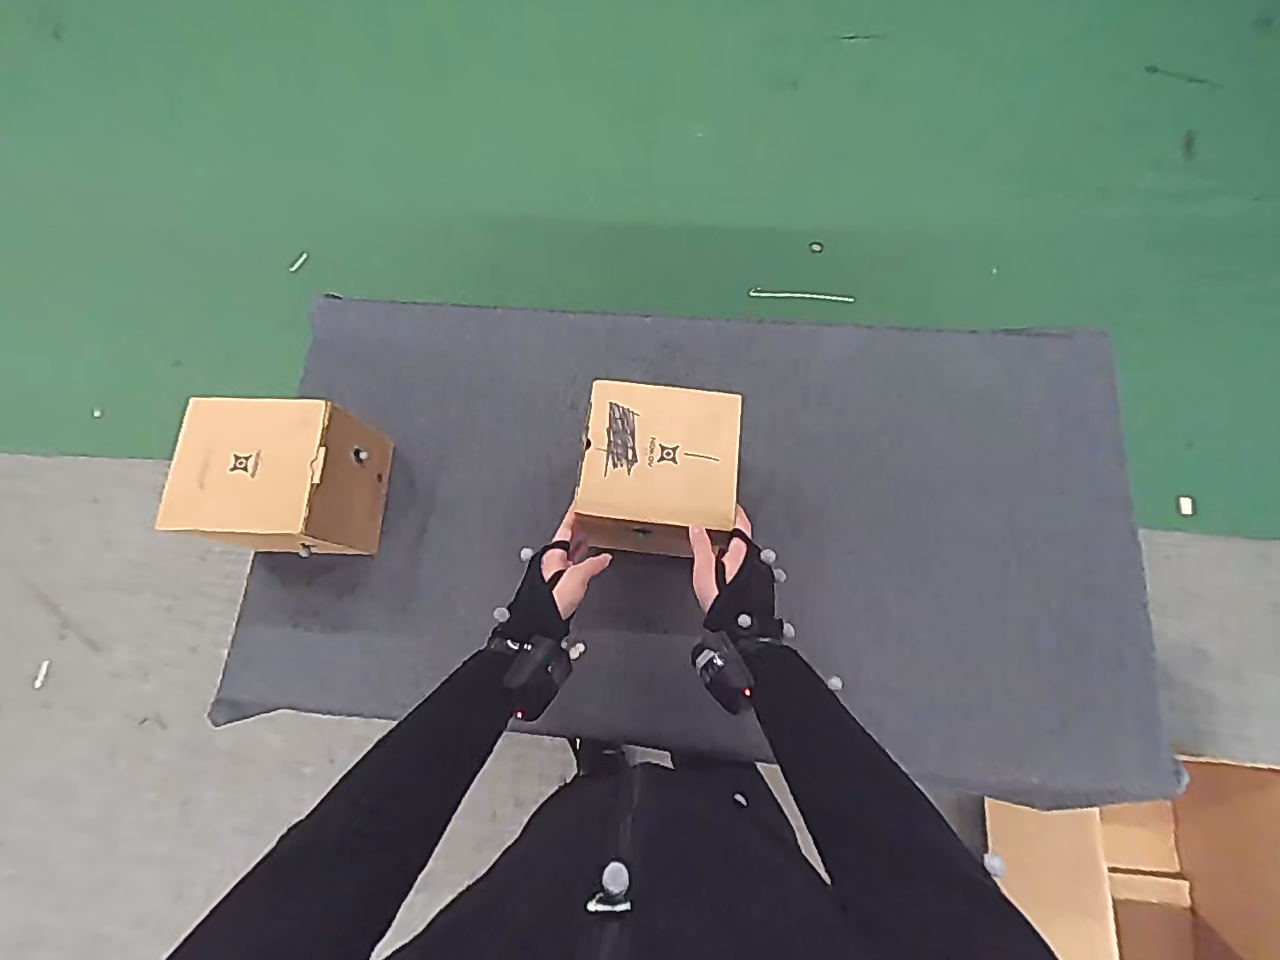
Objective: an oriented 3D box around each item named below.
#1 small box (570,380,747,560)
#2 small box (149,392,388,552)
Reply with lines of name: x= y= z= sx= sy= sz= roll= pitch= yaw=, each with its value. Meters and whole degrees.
small box: x=0.023 y=-0.002 z=0.675 sx=0.179 sy=0.176 sz=0.168 roll=10 pitch=73 yaw=3
small box: x=-0.453 y=-0.003 z=0.693 sx=0.179 sy=0.176 sz=0.168 roll=1 pitch=74 yaw=4
